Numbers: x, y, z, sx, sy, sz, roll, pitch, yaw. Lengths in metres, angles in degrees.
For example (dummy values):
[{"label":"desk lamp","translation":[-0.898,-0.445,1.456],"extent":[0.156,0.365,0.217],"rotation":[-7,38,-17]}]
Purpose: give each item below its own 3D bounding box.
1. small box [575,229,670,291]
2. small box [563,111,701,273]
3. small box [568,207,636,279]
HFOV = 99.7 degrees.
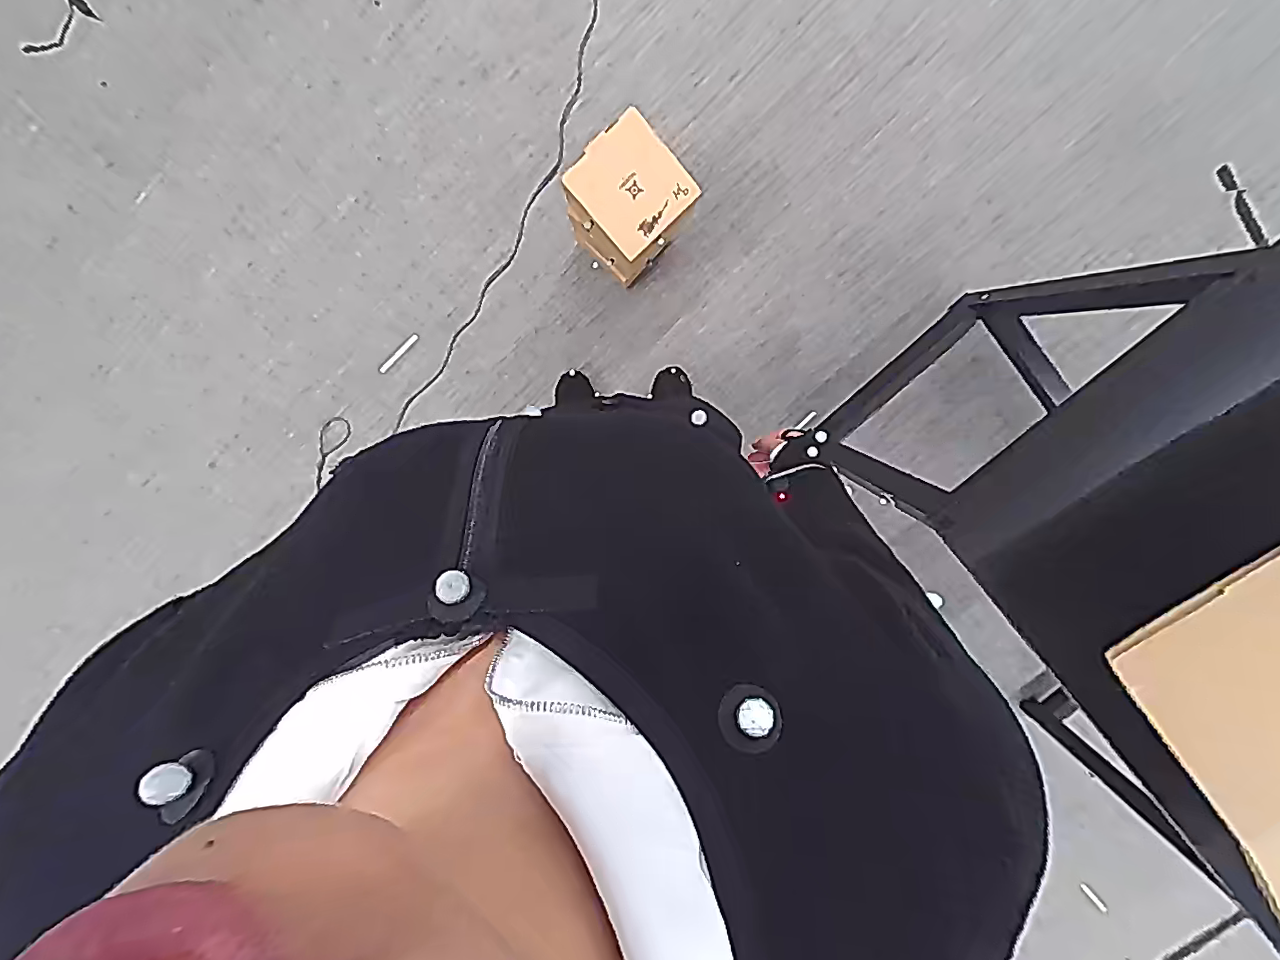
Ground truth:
[{"label":"small box","translation":[-0.035,-0.578,1.290],"extent":[0.168,0.176,0.179],"rotation":[43,99,-10]},{"label":"small box","translation":[-0.016,-0.500,0.974],"extent":[0.168,0.176,0.179],"rotation":[-42,100,7]},{"label":"small box","translation":[-0.028,-0.549,1.131],"extent":[0.168,0.176,0.179],"rotation":[39,98,-11]}]
